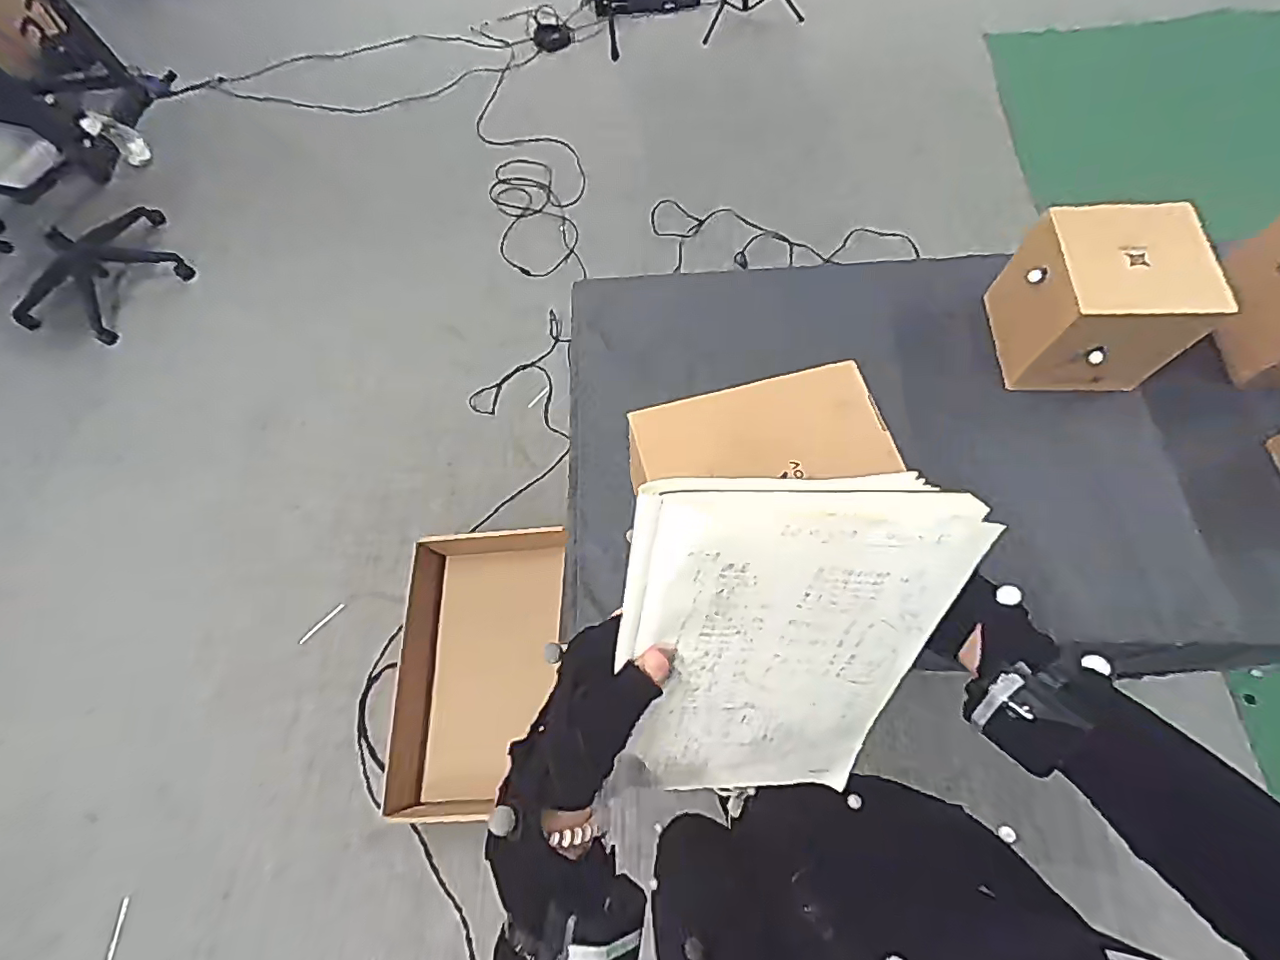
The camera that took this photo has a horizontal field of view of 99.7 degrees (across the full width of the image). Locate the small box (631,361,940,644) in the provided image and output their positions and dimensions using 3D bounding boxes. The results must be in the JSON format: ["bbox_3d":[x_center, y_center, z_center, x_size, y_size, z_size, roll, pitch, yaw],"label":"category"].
[{"bbox_3d":[0.093,0.030,0.443,0.179,0.176,0.168,-13,71,-5],"label":"small box"}]

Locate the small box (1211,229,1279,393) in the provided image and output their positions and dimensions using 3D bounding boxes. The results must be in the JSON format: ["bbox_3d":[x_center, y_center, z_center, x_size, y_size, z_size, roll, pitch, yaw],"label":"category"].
[{"bbox_3d":[0.889,-0.229,0.691,0.168,0.176,0.179,1,67,7],"label":"small box"}]

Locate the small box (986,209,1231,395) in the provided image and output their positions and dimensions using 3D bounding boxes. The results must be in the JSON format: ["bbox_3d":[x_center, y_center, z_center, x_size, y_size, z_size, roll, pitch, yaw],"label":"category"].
[{"bbox_3d":[0.601,-0.228,0.724,0.168,0.176,0.179,1,66,7],"label":"small box"}]
